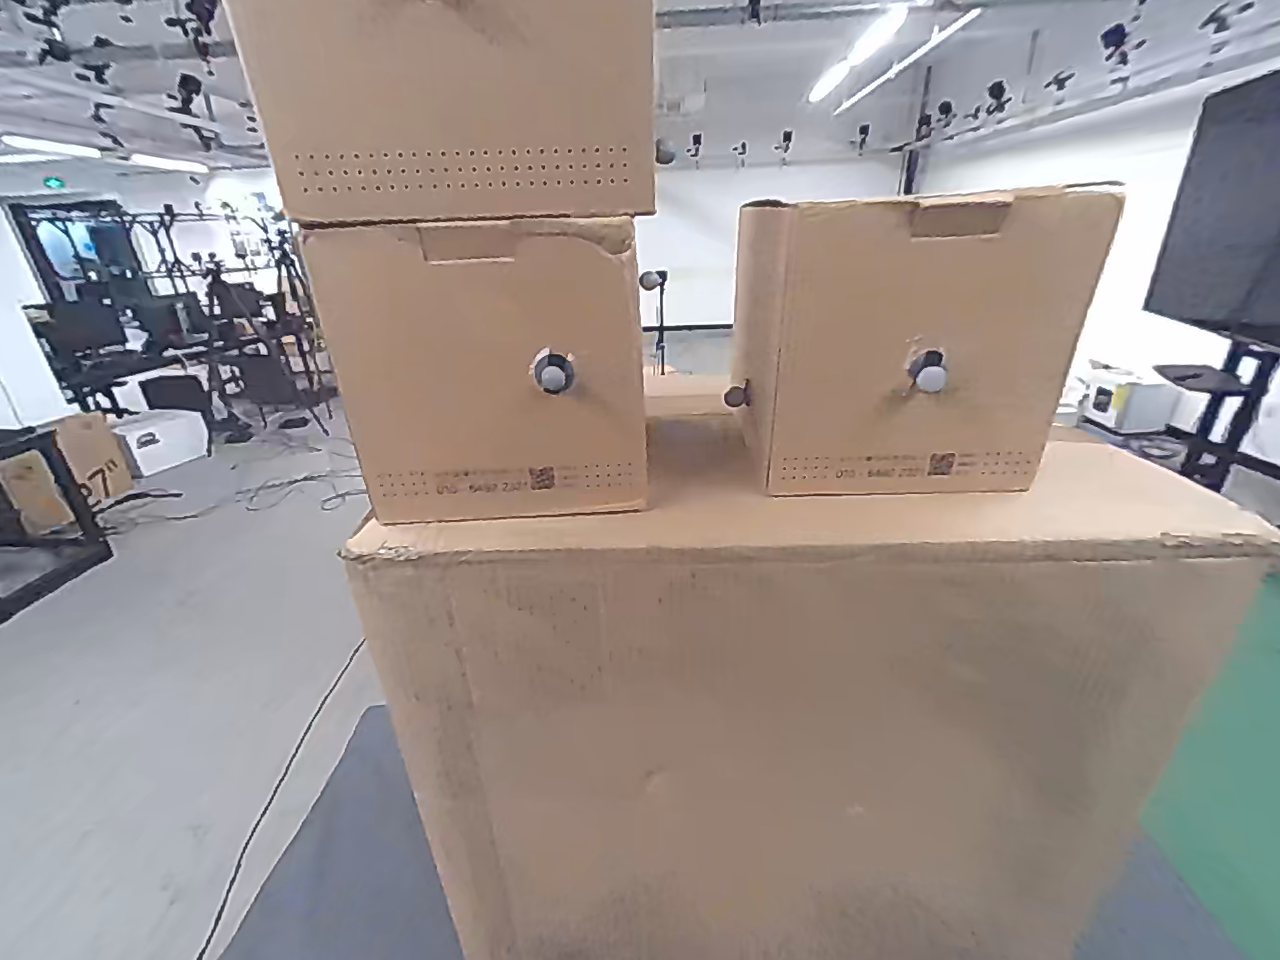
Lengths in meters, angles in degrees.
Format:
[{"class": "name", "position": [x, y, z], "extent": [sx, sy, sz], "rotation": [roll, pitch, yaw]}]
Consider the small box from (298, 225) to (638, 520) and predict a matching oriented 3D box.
[{"class": "small box", "position": [-0.087, -0.081, 0.374], "extent": [0.168, 0.176, 0.179], "rotation": [-2, 26, -1]}]

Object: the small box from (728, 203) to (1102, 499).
[{"class": "small box", "position": [0.155, -0.095, 0.381], "extent": [0.168, 0.176, 0.179], "rotation": [-1, 27, 2]}]

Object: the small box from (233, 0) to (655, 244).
[{"class": "small box", "position": [-0.088, -0.225, 0.296], "extent": [0.179, 0.176, 0.168], "rotation": [-4, 28, -8]}]
